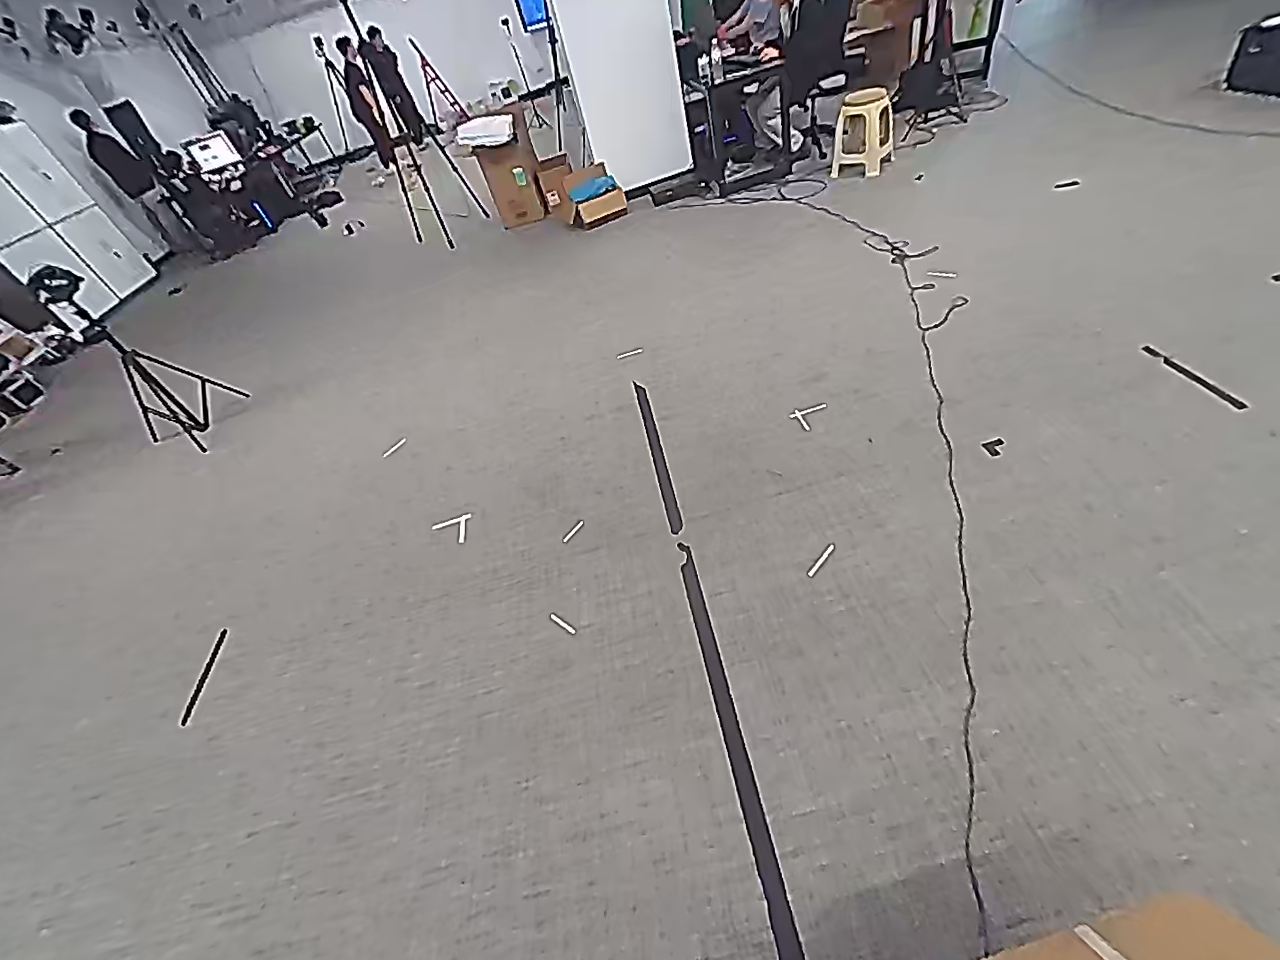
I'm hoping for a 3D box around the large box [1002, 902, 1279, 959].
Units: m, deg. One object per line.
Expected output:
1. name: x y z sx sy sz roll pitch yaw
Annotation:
1. large box: 0.616 0.709 0.496 0.320 0.408 0.320 -21 79 1
